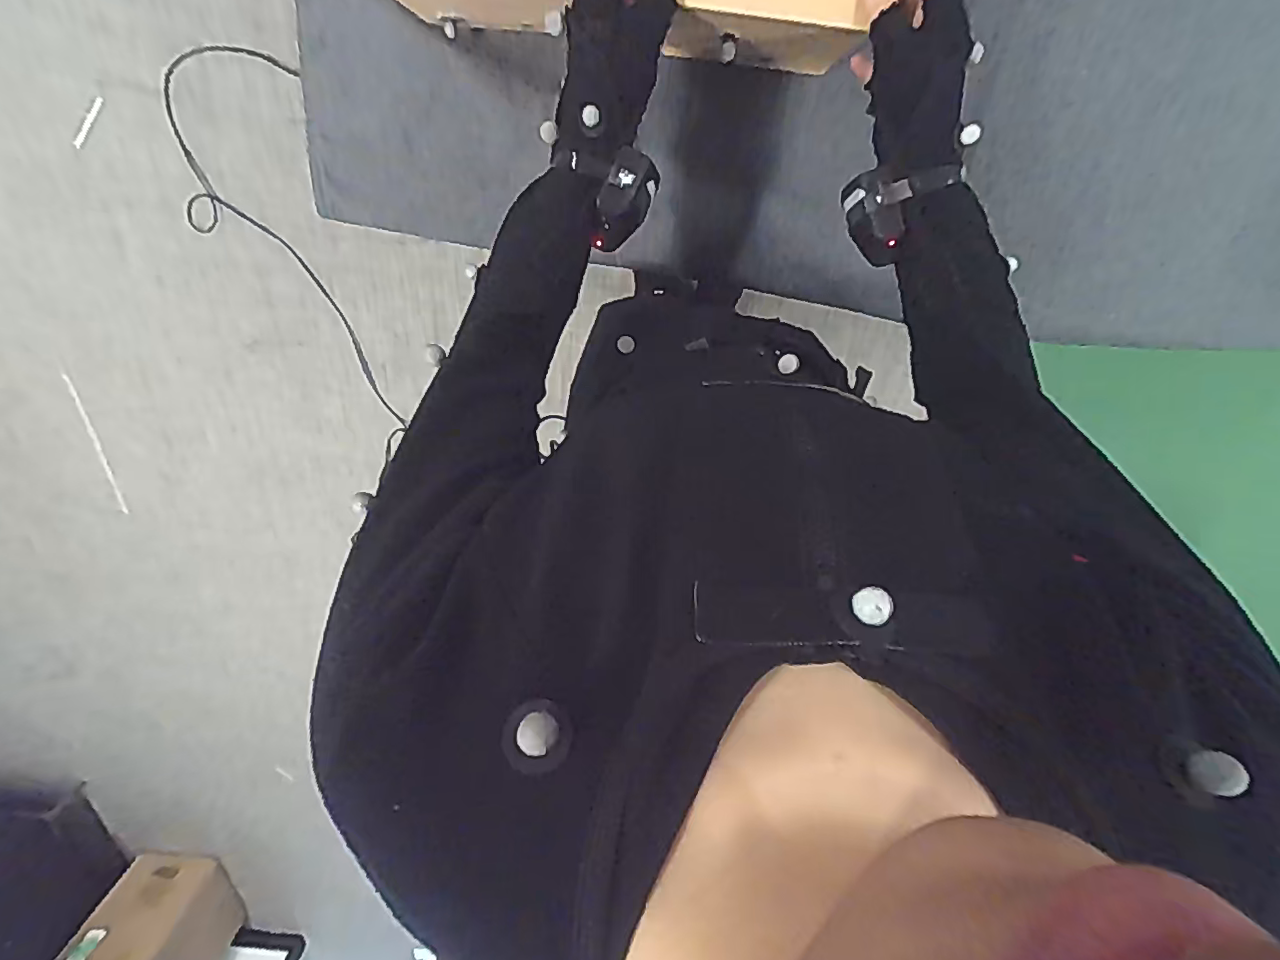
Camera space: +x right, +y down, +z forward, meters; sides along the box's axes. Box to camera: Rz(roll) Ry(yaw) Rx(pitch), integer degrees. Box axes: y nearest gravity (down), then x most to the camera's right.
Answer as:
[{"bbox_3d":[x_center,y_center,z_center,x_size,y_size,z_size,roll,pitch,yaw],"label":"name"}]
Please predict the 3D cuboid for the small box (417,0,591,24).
[{"bbox_3d":[-0.127,-0.484,0.416,0.168,0.176,0.179,4,117,1],"label":"small box"}]

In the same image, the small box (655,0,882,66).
[{"bbox_3d":[0.107,-0.451,0.421,0.168,0.176,0.179,7,117,1],"label":"small box"}]
